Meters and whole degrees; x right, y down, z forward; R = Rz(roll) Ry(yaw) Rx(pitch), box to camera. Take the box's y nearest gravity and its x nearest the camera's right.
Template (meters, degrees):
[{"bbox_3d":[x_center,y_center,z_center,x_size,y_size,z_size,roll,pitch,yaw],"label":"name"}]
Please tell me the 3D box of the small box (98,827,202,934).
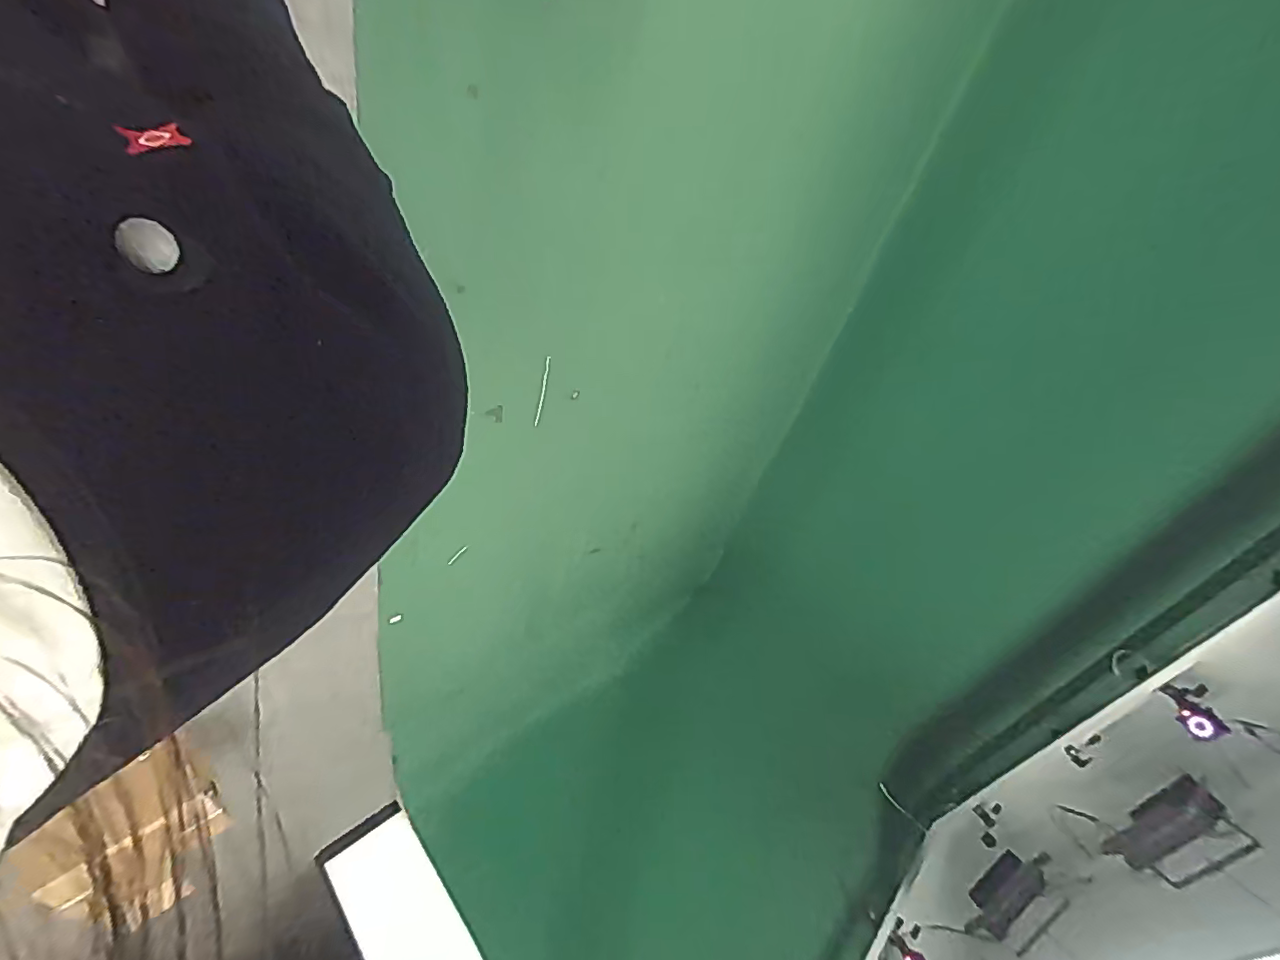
[{"bbox_3d":[-1.461,1.189,1.615,0.179,0.176,0.168,-25,142,-37],"label":"small box"}]
